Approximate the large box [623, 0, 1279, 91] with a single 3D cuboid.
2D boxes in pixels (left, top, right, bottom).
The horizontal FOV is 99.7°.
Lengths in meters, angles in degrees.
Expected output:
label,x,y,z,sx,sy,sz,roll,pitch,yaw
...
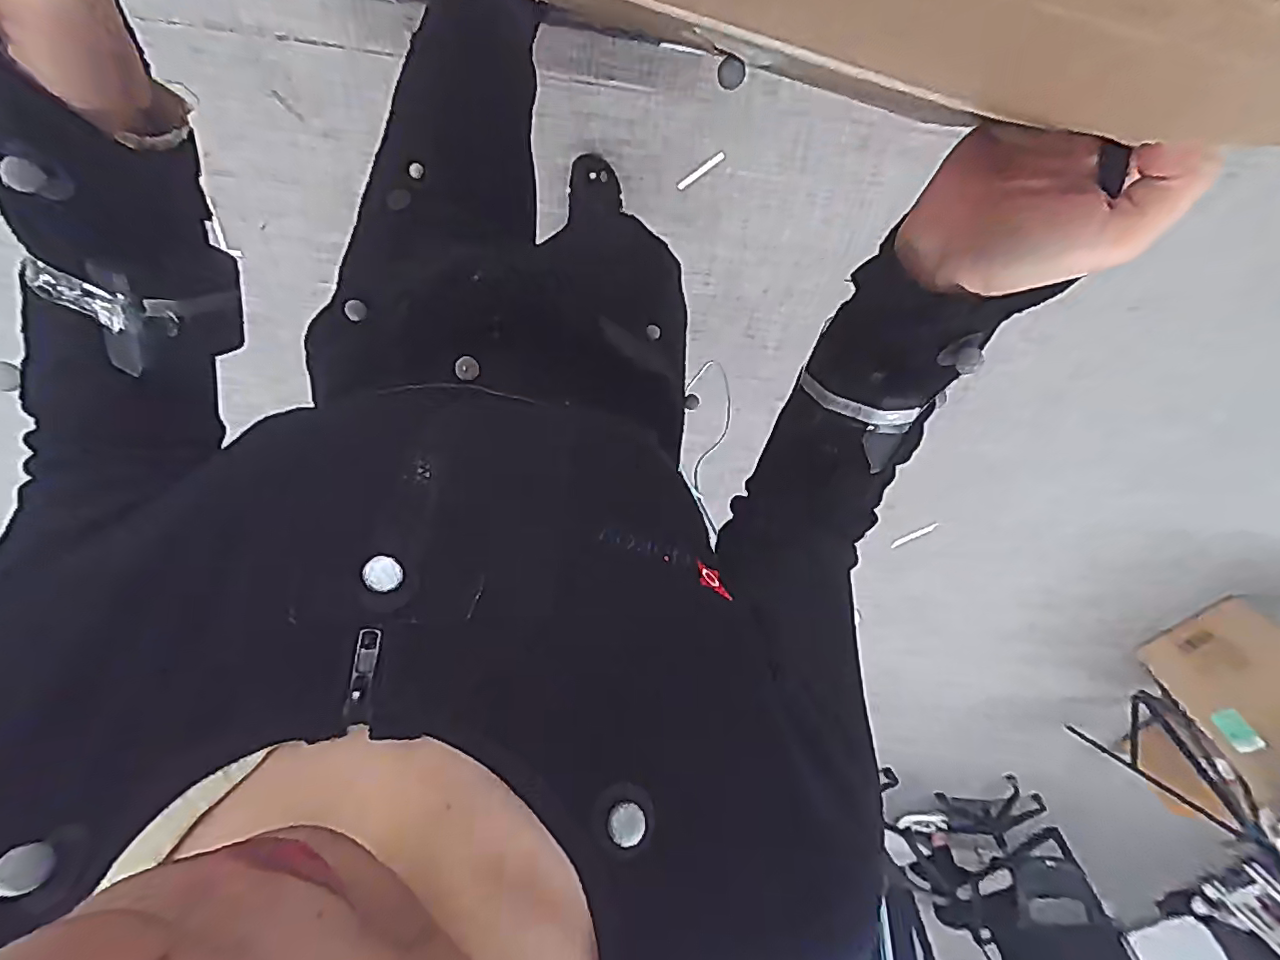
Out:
label,x,y,z,sx,sy,sz,roll,pitch,yaw
large box,0.000,-0.310,0.096,0.408,0.320,0.320,11,126,-5
